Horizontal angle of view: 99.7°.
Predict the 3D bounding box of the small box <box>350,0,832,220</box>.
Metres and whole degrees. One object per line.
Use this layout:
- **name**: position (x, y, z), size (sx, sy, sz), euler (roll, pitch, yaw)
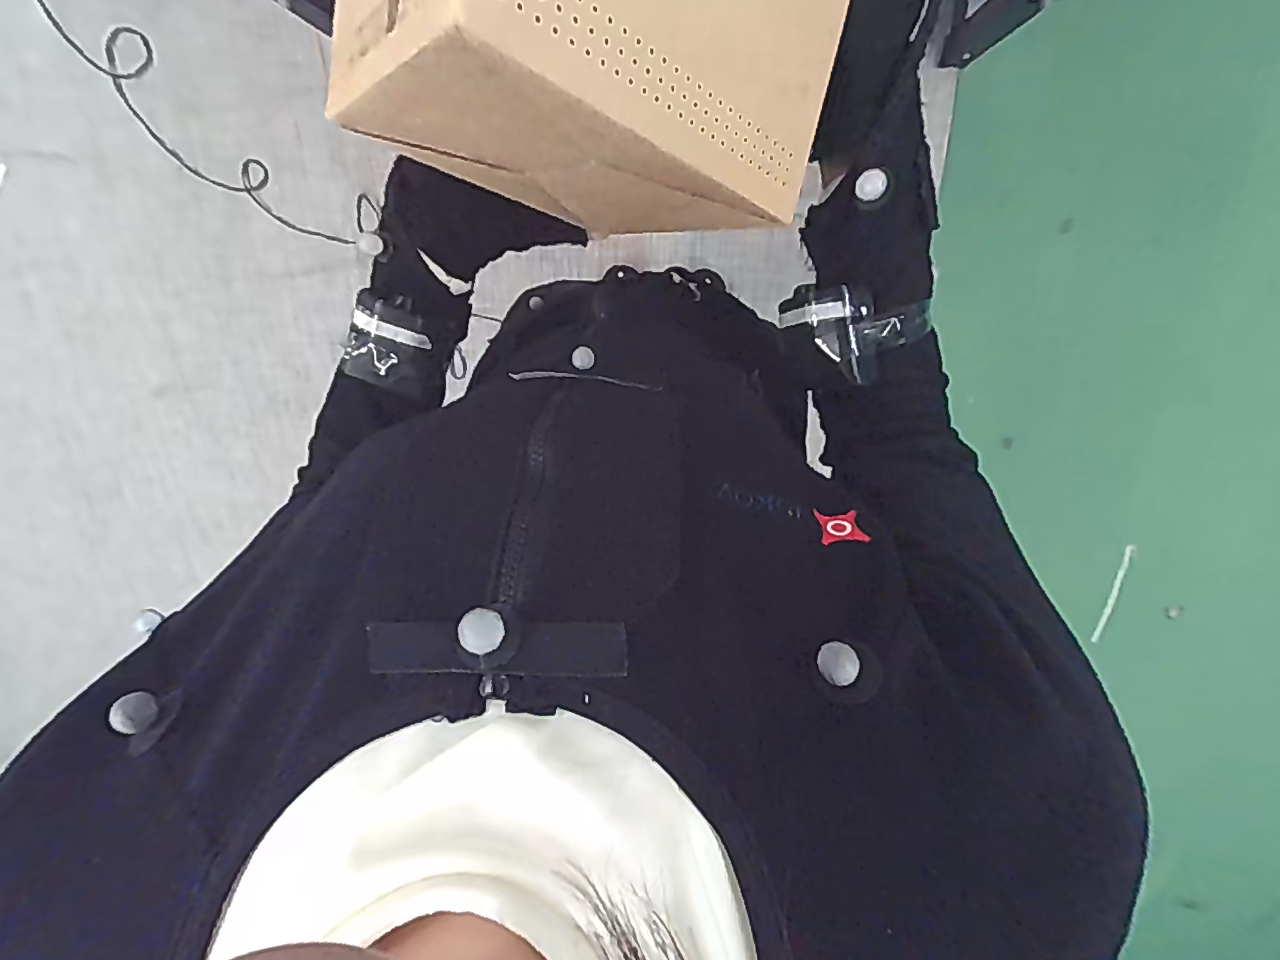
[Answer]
- **small box**: position (-0.022, -0.241, 0.262), size (0.179, 0.168, 0.176), euler (1, 107, -41)
